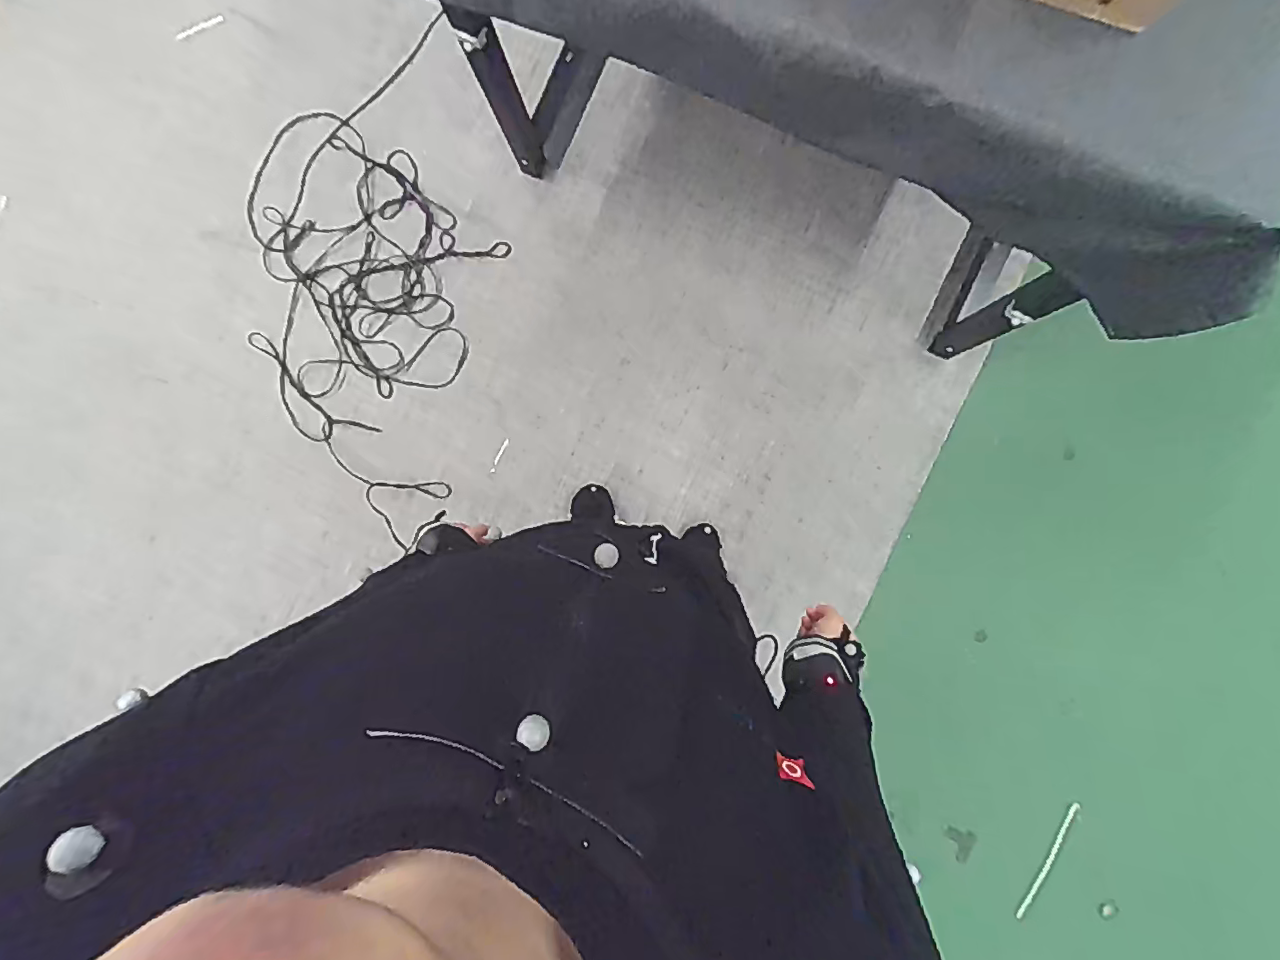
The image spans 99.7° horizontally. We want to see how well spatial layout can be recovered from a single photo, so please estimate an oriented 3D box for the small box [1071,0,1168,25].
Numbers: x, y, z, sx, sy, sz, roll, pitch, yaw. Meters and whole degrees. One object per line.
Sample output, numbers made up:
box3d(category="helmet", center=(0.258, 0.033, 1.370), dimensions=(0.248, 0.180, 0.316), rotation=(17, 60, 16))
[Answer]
box3d(category="small box", center=(0.519, -0.614, 0.534), dimensions=(0.168, 0.176, 0.179), rotation=(21, 90, 2))
